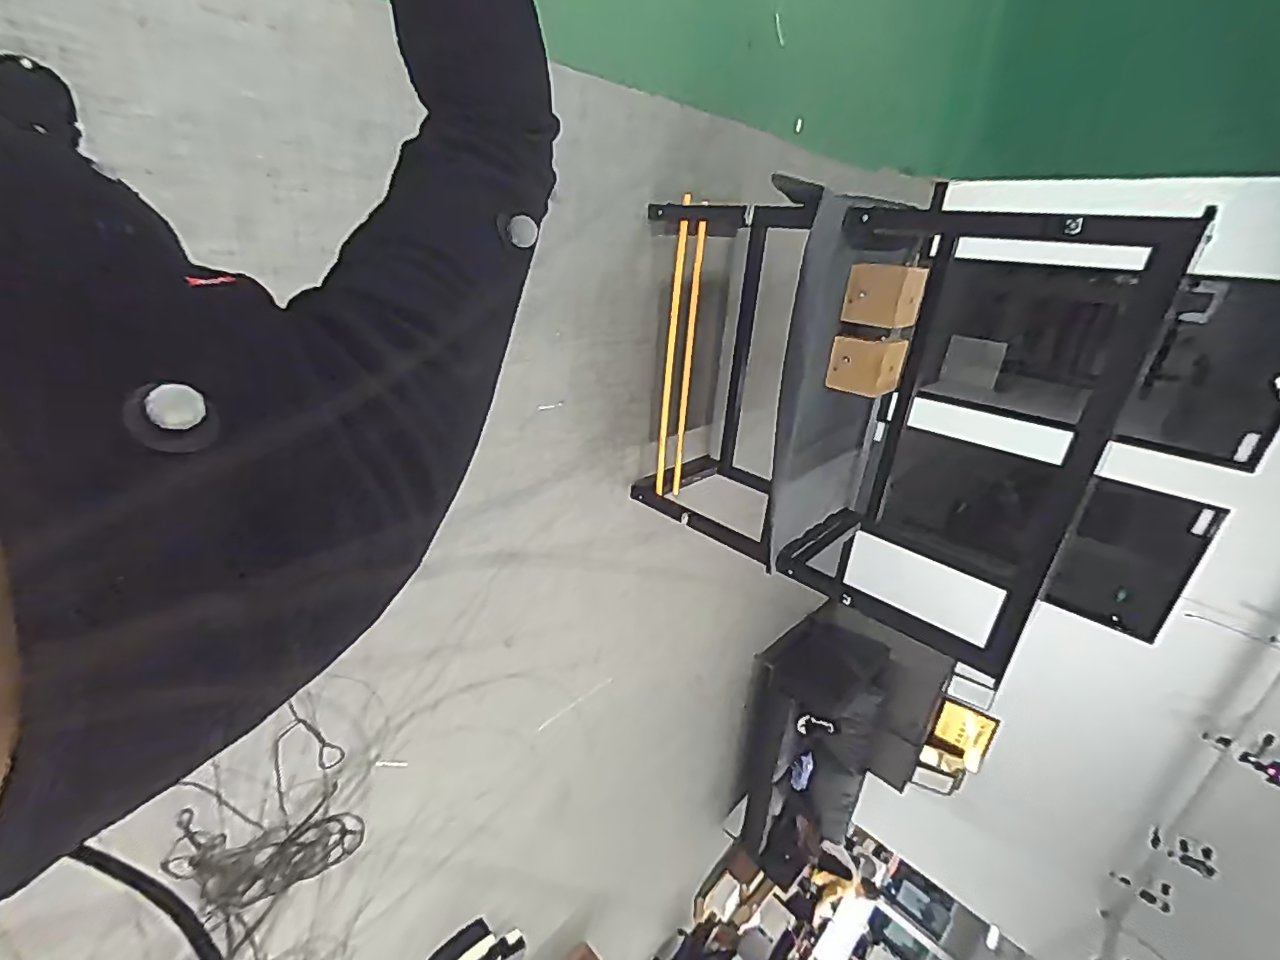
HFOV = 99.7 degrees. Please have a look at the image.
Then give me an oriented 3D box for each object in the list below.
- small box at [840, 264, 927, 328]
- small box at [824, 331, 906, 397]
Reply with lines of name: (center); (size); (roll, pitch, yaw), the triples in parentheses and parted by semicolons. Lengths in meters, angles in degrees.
small box: (0.740, -0.566, 1.650); (0.179, 0.176, 0.168); (-21, 124, -42)
small box: (0.718, -0.378, 1.735); (0.179, 0.176, 0.168); (-20, 124, -42)
